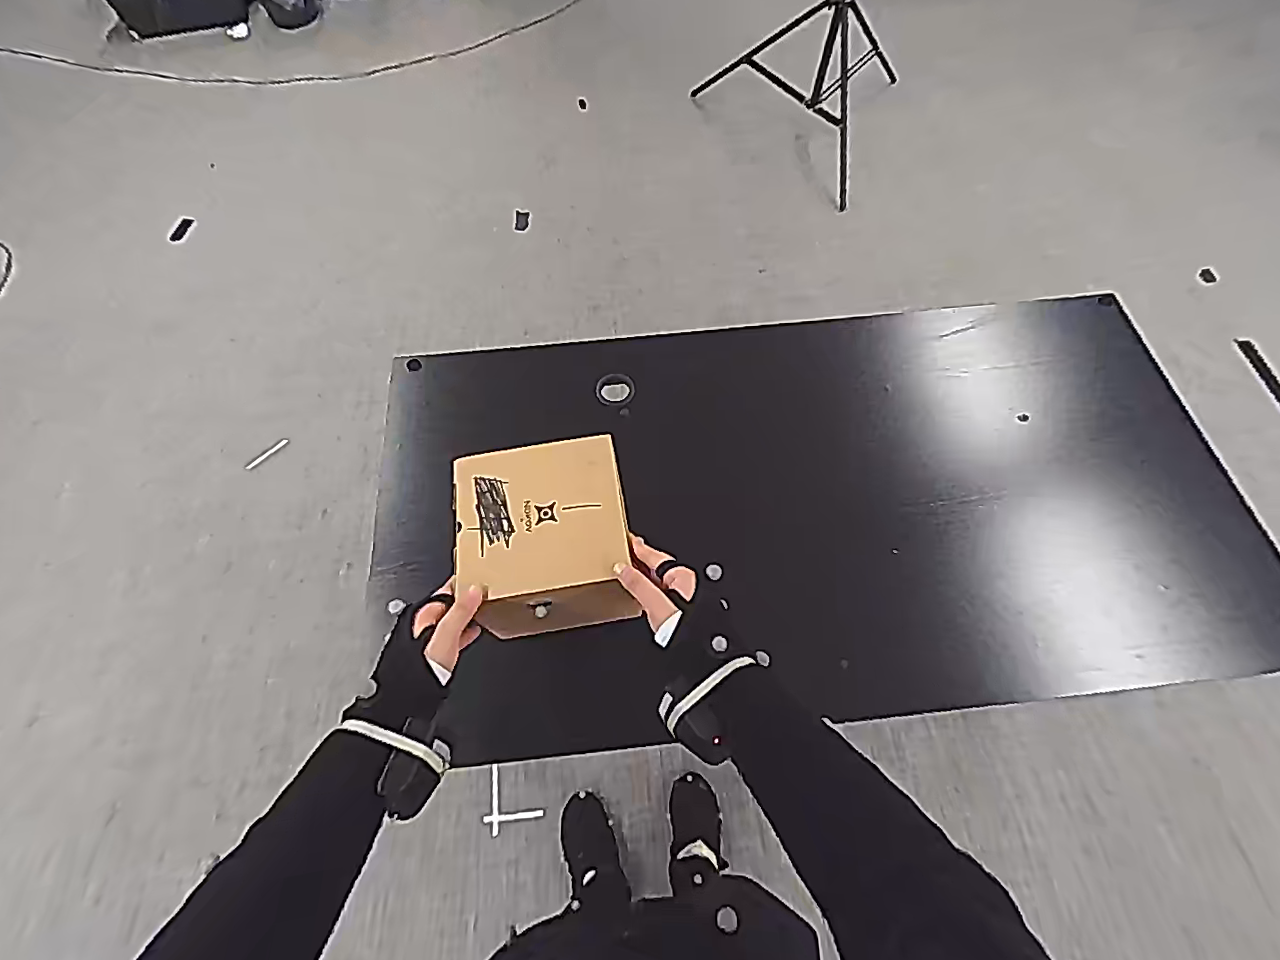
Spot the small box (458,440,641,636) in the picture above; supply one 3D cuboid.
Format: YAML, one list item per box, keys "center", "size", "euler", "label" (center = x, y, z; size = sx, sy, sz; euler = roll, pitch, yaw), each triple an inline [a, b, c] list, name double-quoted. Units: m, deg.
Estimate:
- center: [-0.099, 0.077, 0.634]
  size: [0.179, 0.176, 0.168]
  euler: [-9, 63, -2]
  label: "small box"
